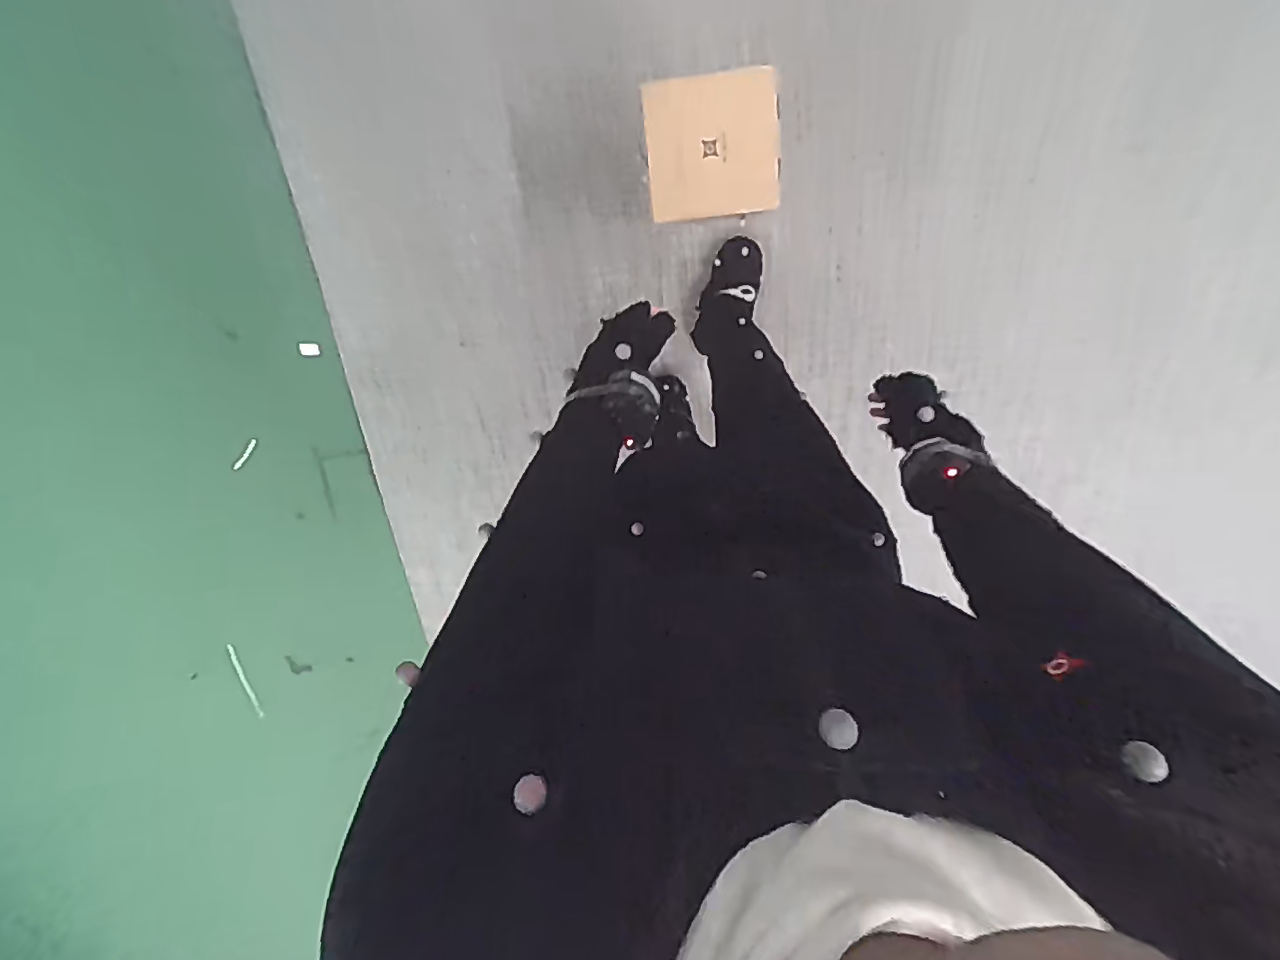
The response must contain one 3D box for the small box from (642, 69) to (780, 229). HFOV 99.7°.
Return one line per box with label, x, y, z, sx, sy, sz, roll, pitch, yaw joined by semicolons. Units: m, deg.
small box;0.101;-0.468;0.790;0.179;0.176;0.168;-5;112;7
